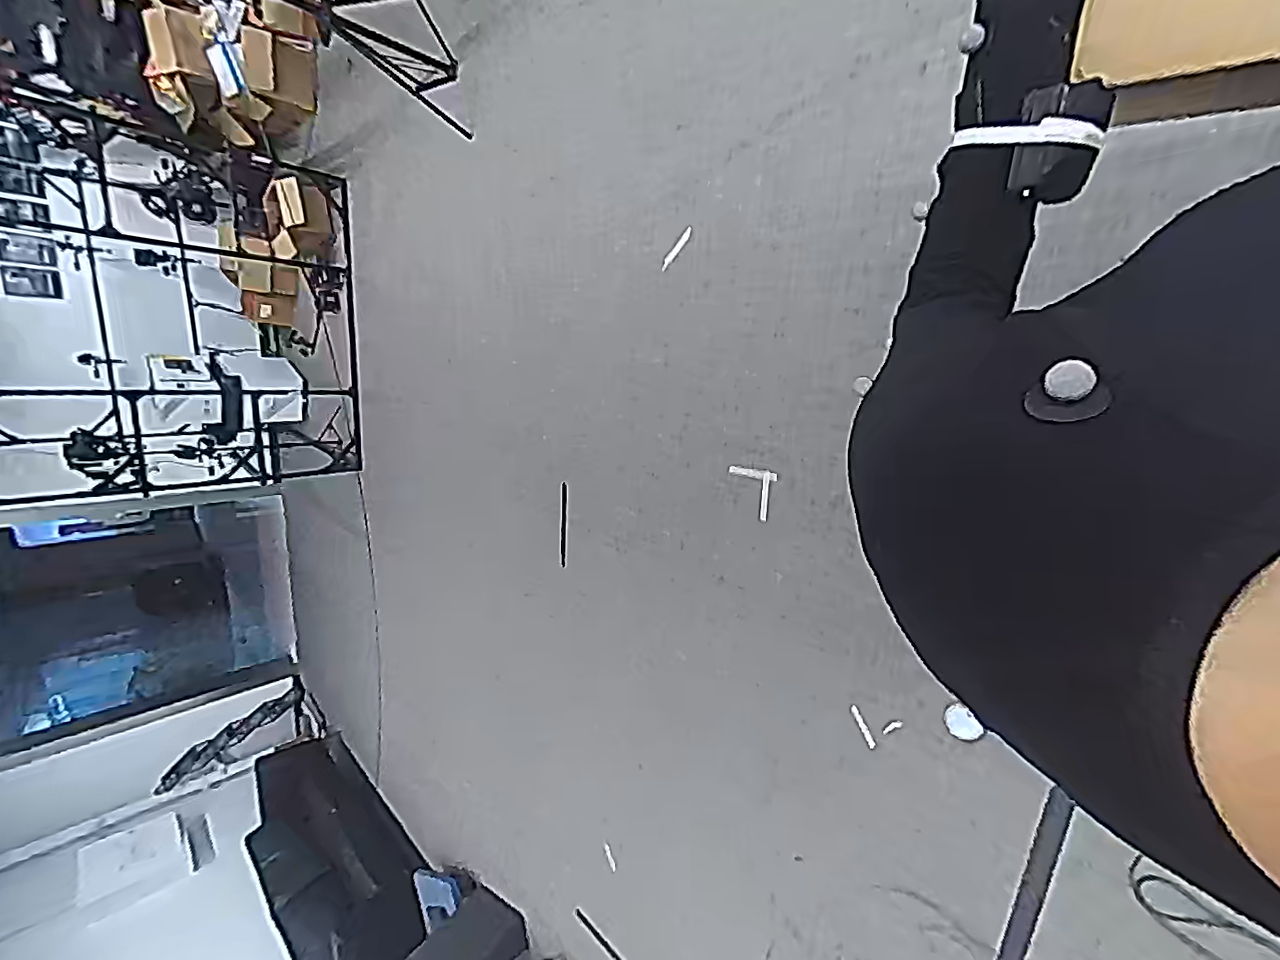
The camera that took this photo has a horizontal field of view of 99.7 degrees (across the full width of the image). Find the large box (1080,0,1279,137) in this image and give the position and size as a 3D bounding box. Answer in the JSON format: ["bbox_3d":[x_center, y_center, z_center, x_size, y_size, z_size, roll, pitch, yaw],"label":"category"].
[{"bbox_3d":[0.534,-0.416,0.298,0.408,0.320,0.320,14,121,37],"label":"large box"}]
